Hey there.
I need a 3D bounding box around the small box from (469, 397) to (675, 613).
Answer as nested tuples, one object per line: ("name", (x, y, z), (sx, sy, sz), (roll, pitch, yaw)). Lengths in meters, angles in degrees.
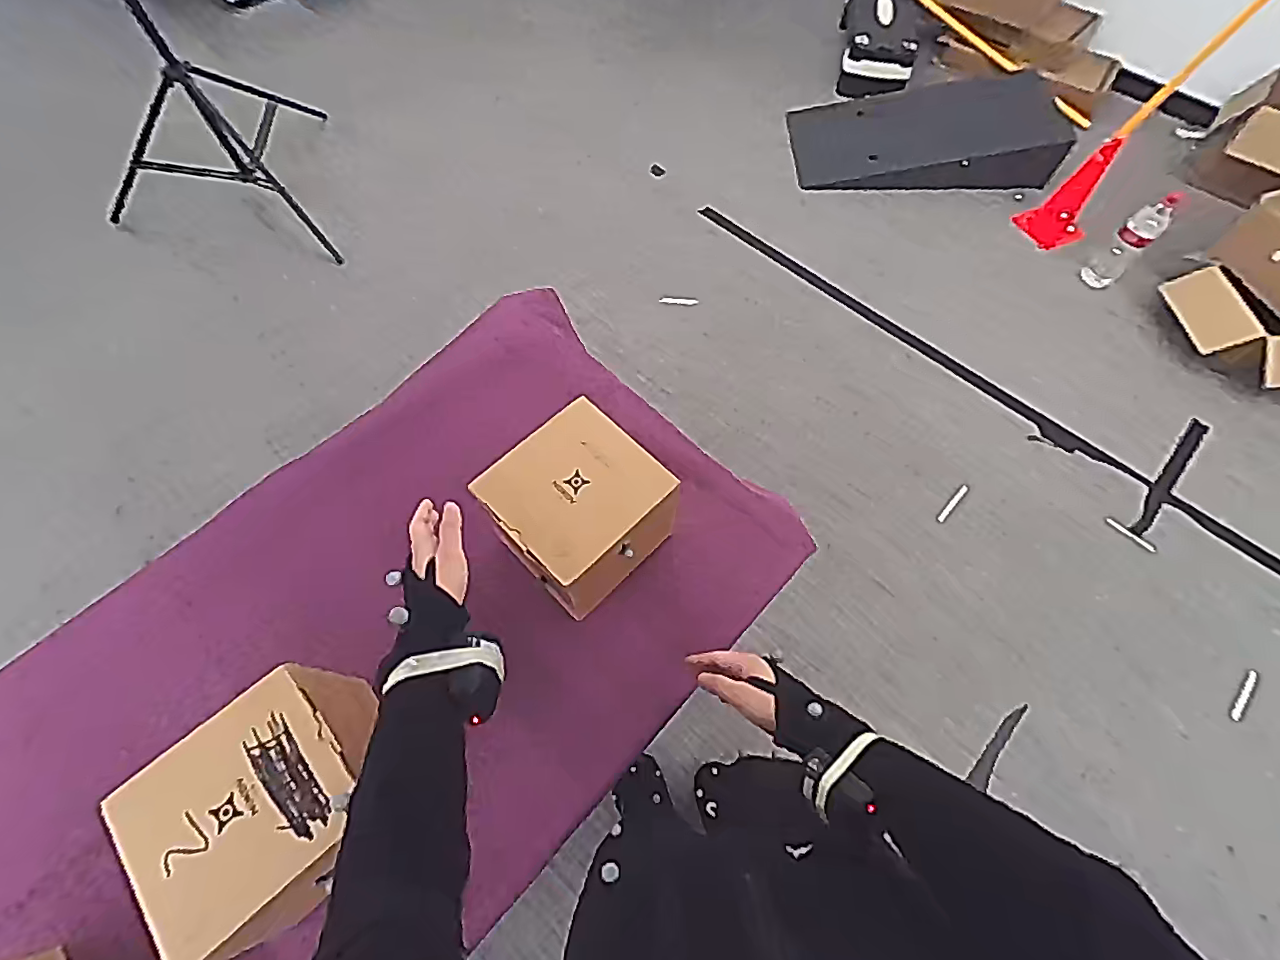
("small box", (-0.075, 0.039, 0.671), (0.168, 0.176, 0.179), (42, 70, 17))
